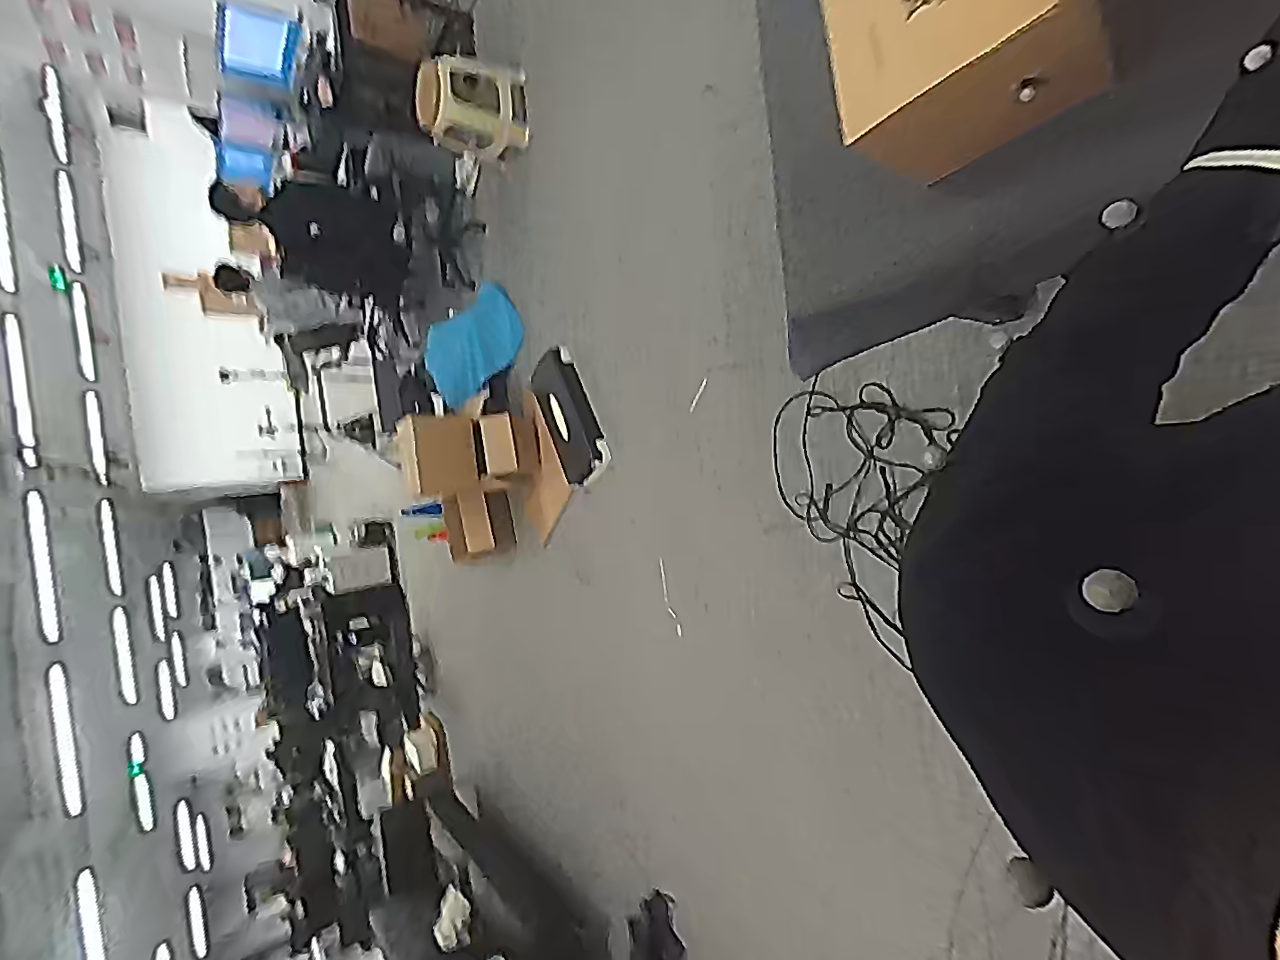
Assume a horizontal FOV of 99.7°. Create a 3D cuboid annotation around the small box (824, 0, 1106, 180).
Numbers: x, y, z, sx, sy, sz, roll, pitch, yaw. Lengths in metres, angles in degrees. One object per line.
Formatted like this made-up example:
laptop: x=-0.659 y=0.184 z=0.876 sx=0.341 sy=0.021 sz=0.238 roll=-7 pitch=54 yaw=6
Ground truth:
small box: x=0.309 y=-0.426 z=0.515 sx=0.179 sy=0.176 sz=0.168 roll=-13 pitch=84 yaw=53
